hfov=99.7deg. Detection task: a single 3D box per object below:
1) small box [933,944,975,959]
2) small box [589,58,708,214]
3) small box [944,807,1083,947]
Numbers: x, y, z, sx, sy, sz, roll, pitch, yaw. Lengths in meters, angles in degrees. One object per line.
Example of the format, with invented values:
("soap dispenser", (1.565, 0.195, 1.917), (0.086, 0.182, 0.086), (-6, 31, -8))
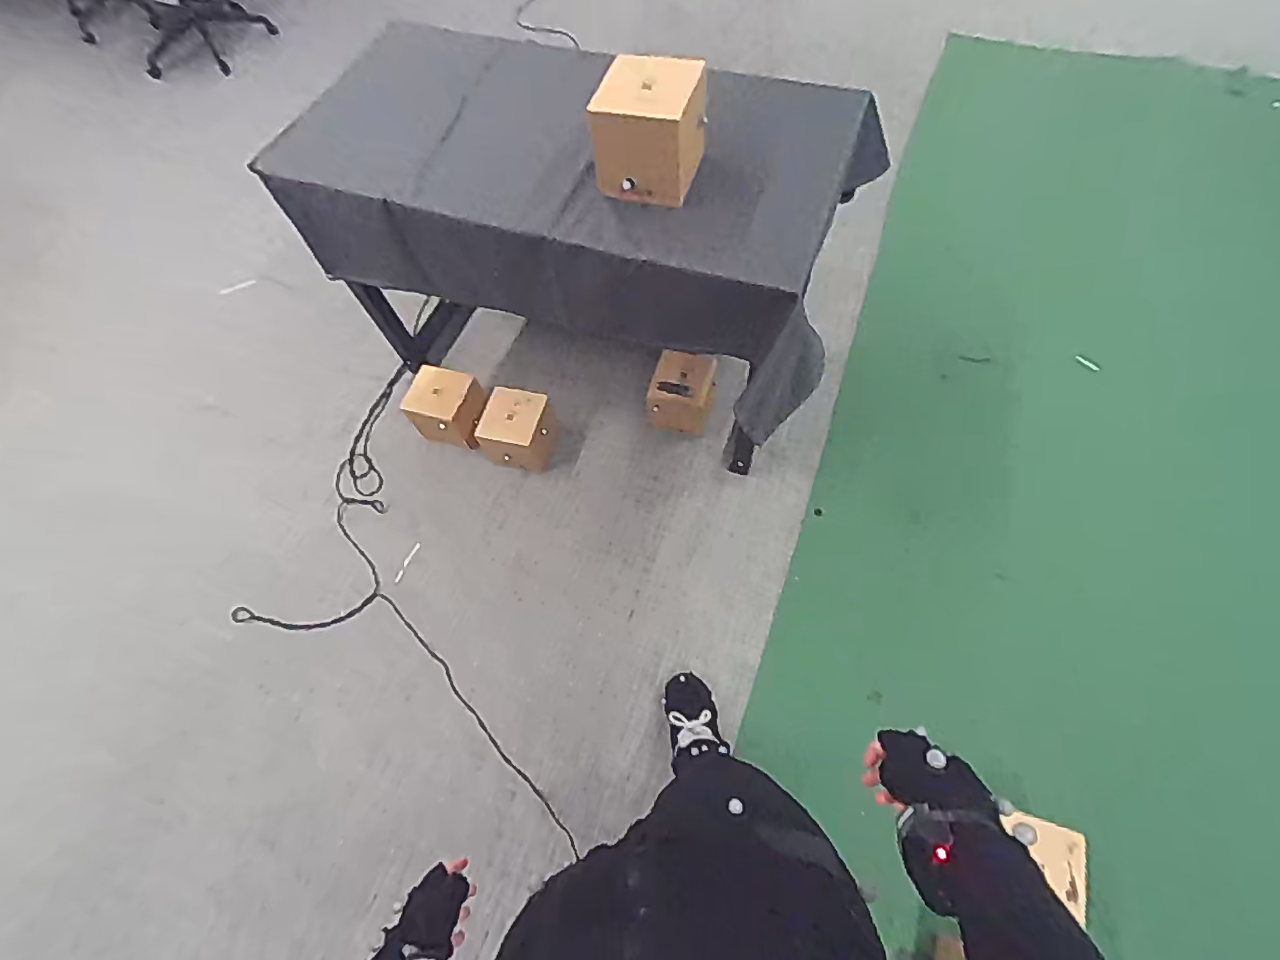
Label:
("small box", (0.632, 0.994, 0.968), (0.168, 0.176, 0.179), (20, 67, 13))
("small box", (0.021, -0.629, 0.995), (0.168, 0.176, 0.179), (15, 66, 12))
("small box", (0.731, 0.770, 1.073), (0.179, 0.176, 0.168), (16, 66, 13))
